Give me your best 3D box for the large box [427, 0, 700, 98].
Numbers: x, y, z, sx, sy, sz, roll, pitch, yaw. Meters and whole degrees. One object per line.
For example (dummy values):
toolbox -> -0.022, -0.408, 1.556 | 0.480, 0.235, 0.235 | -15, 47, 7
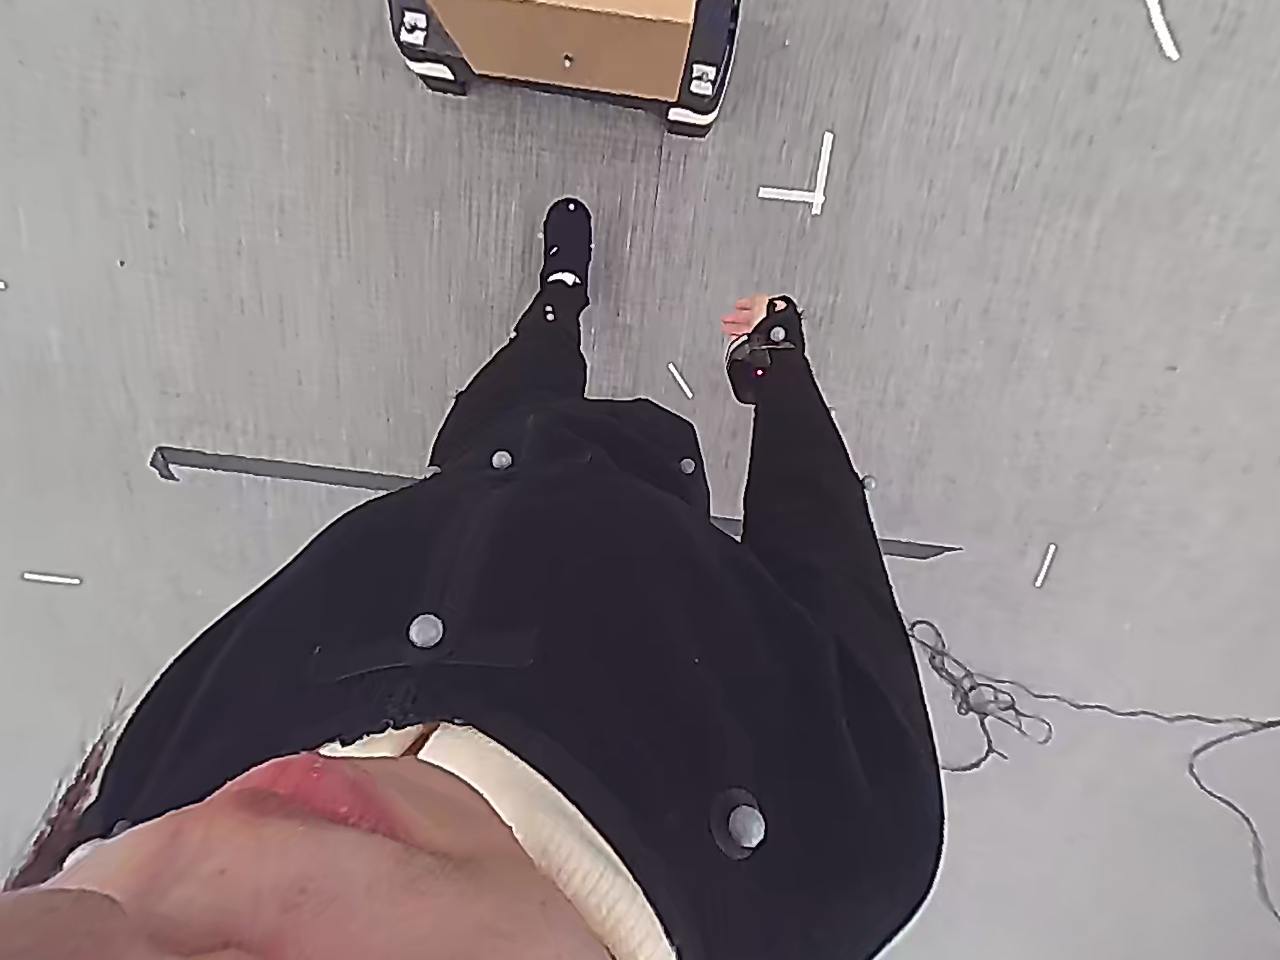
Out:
large box -> -0.100, -0.863, 0.872 | 0.408, 0.320, 0.320 | 6, 106, -2
